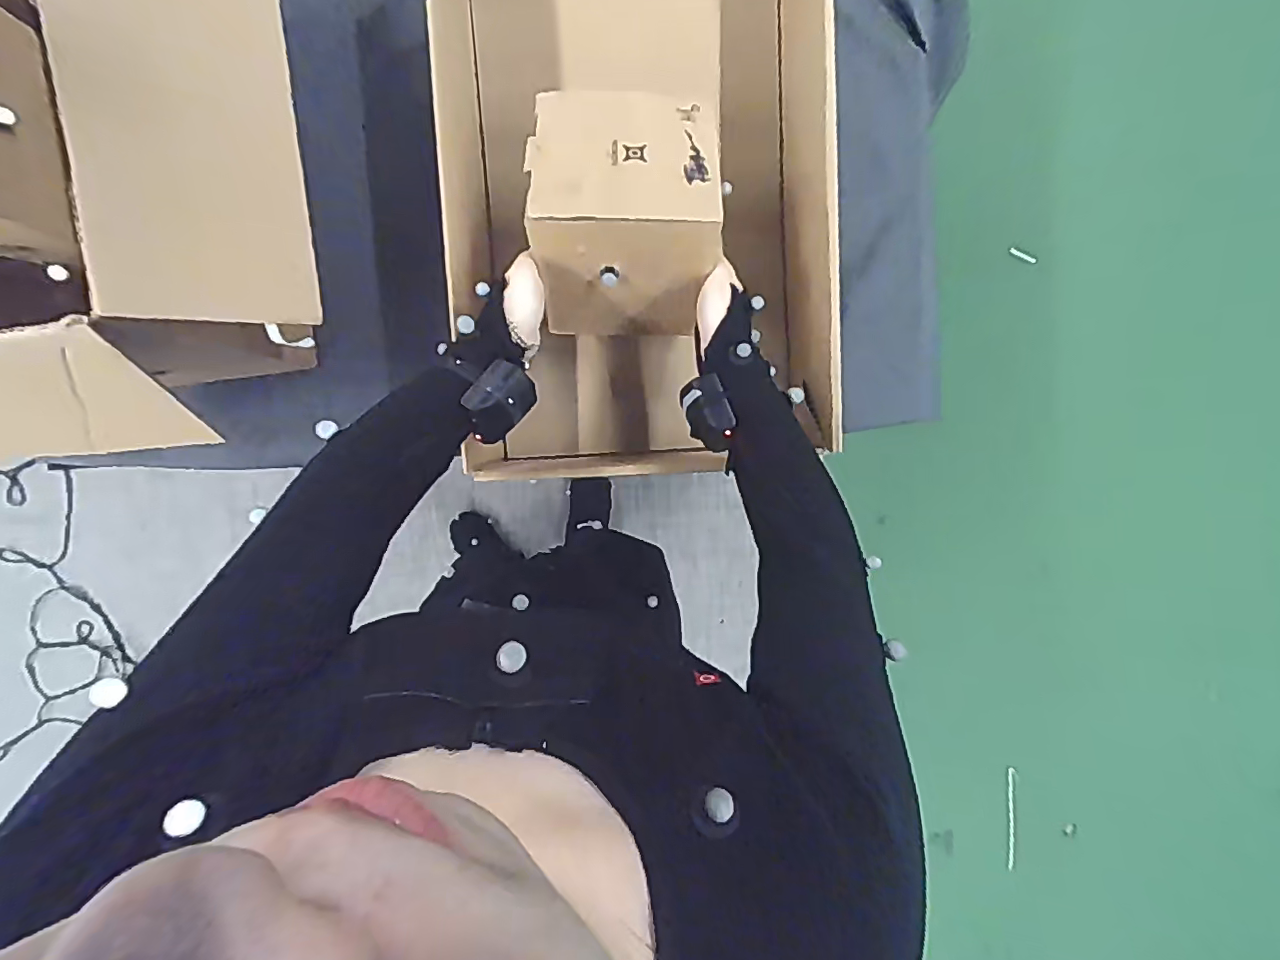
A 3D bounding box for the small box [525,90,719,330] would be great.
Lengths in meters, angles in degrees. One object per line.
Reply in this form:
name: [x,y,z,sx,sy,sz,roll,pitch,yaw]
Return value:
small box: [-0.016,-0.277,0.580,0.179,0.176,0.168,1,71,-1]
